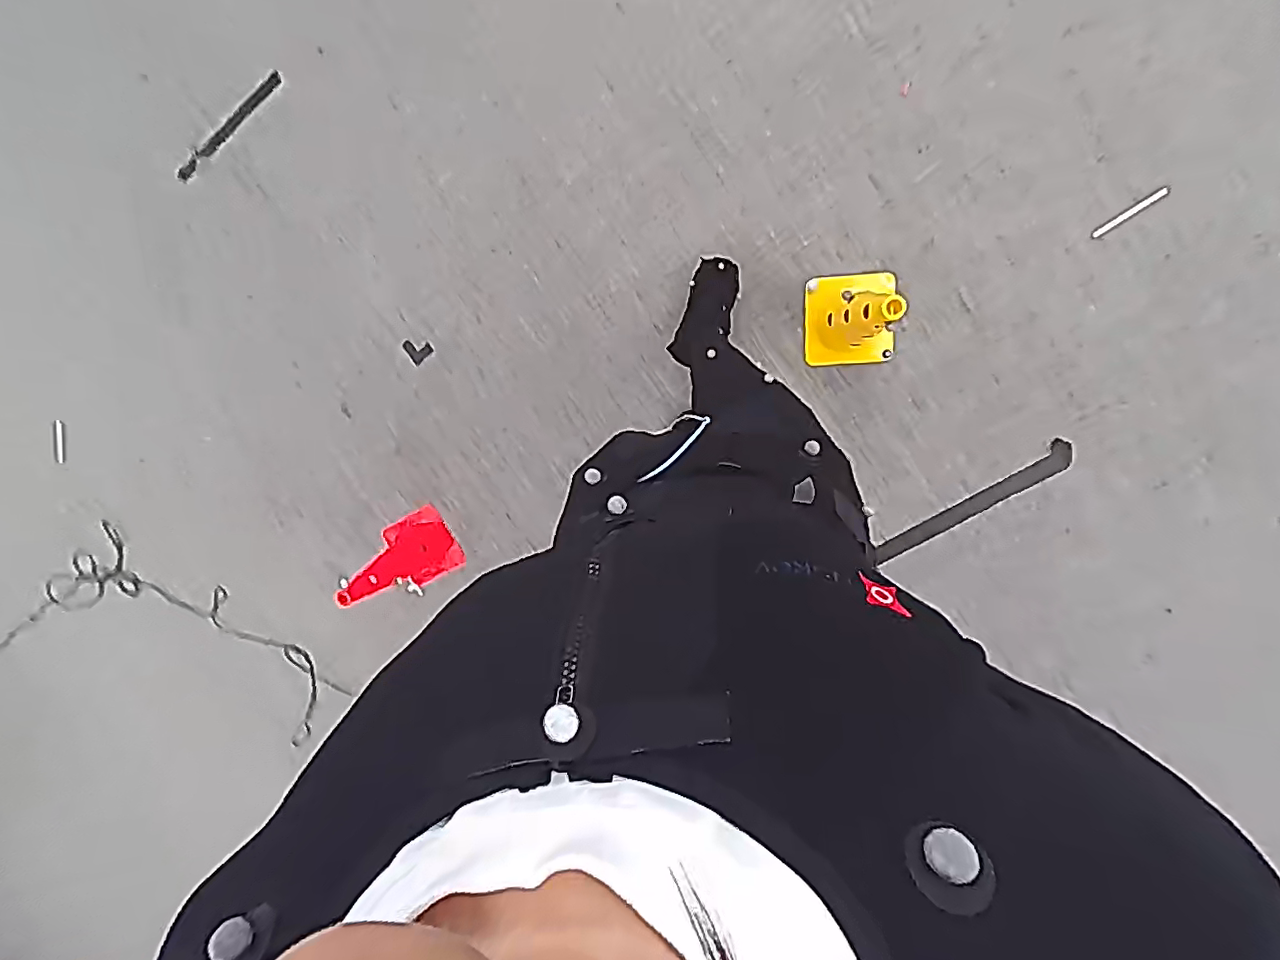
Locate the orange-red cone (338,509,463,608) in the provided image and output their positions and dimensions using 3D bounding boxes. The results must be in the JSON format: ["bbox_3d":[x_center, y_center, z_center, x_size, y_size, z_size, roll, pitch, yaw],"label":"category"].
[{"bbox_3d":[-0.658,0.236,1.414,0.199,0.360,0.198,-26,99,13],"label":"orange-red cone"}]

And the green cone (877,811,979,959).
[{"bbox_3d":[0.793,1.100,1.395,0.200,0.368,0.202,40,107,-1],"label":"green cone"}]
